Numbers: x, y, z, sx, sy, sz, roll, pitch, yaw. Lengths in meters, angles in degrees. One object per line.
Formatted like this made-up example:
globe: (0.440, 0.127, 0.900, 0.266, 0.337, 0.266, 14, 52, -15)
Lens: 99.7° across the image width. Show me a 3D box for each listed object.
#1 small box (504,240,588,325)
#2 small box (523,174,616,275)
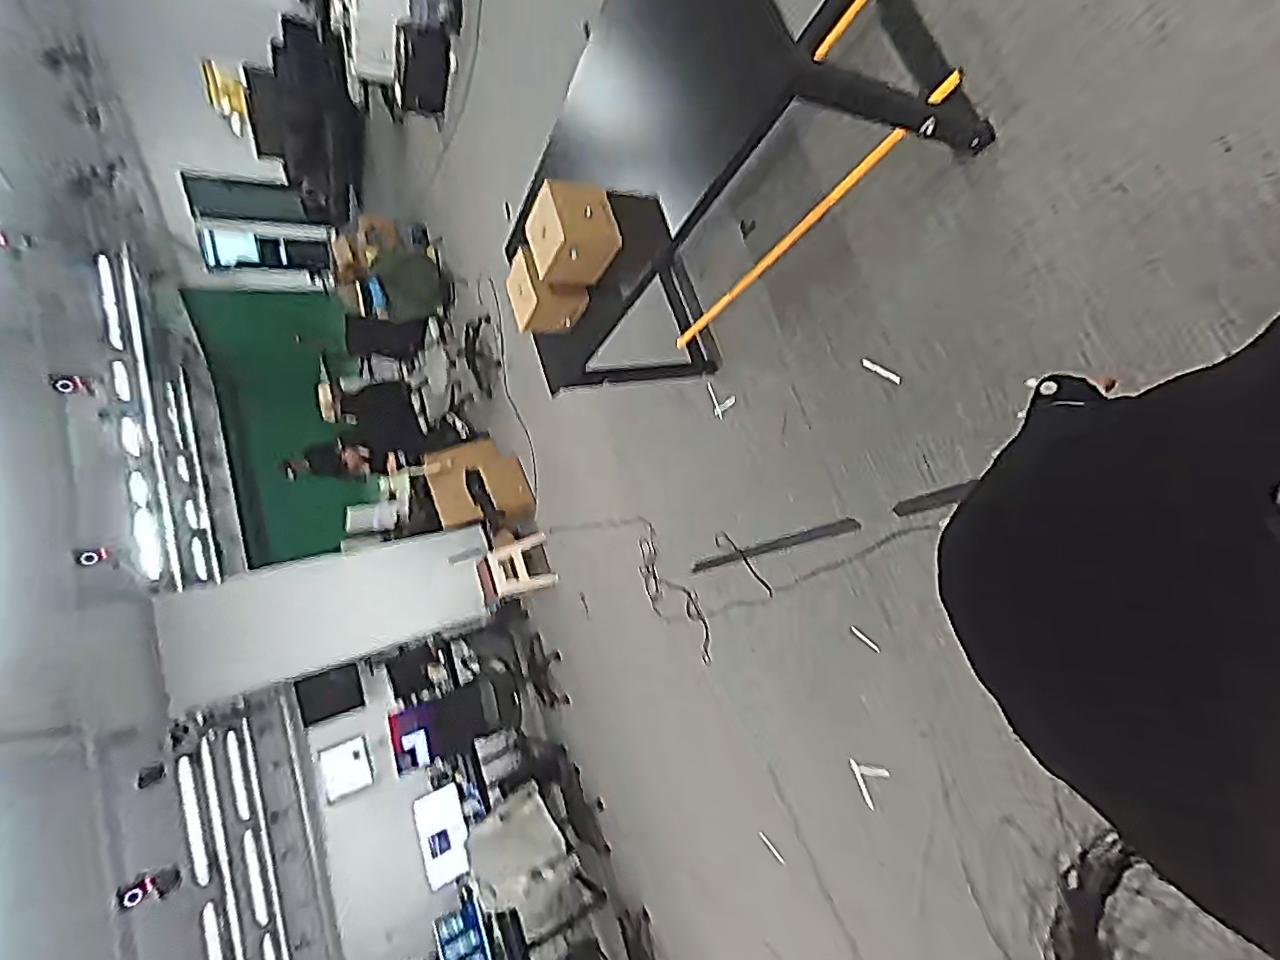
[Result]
small box: (-0.276, -0.571, 1.578, 0.168, 0.176, 0.179, -35, 72, 57)
small box: (-0.178, -0.652, 1.398, 0.179, 0.176, 0.168, -31, 73, 56)
